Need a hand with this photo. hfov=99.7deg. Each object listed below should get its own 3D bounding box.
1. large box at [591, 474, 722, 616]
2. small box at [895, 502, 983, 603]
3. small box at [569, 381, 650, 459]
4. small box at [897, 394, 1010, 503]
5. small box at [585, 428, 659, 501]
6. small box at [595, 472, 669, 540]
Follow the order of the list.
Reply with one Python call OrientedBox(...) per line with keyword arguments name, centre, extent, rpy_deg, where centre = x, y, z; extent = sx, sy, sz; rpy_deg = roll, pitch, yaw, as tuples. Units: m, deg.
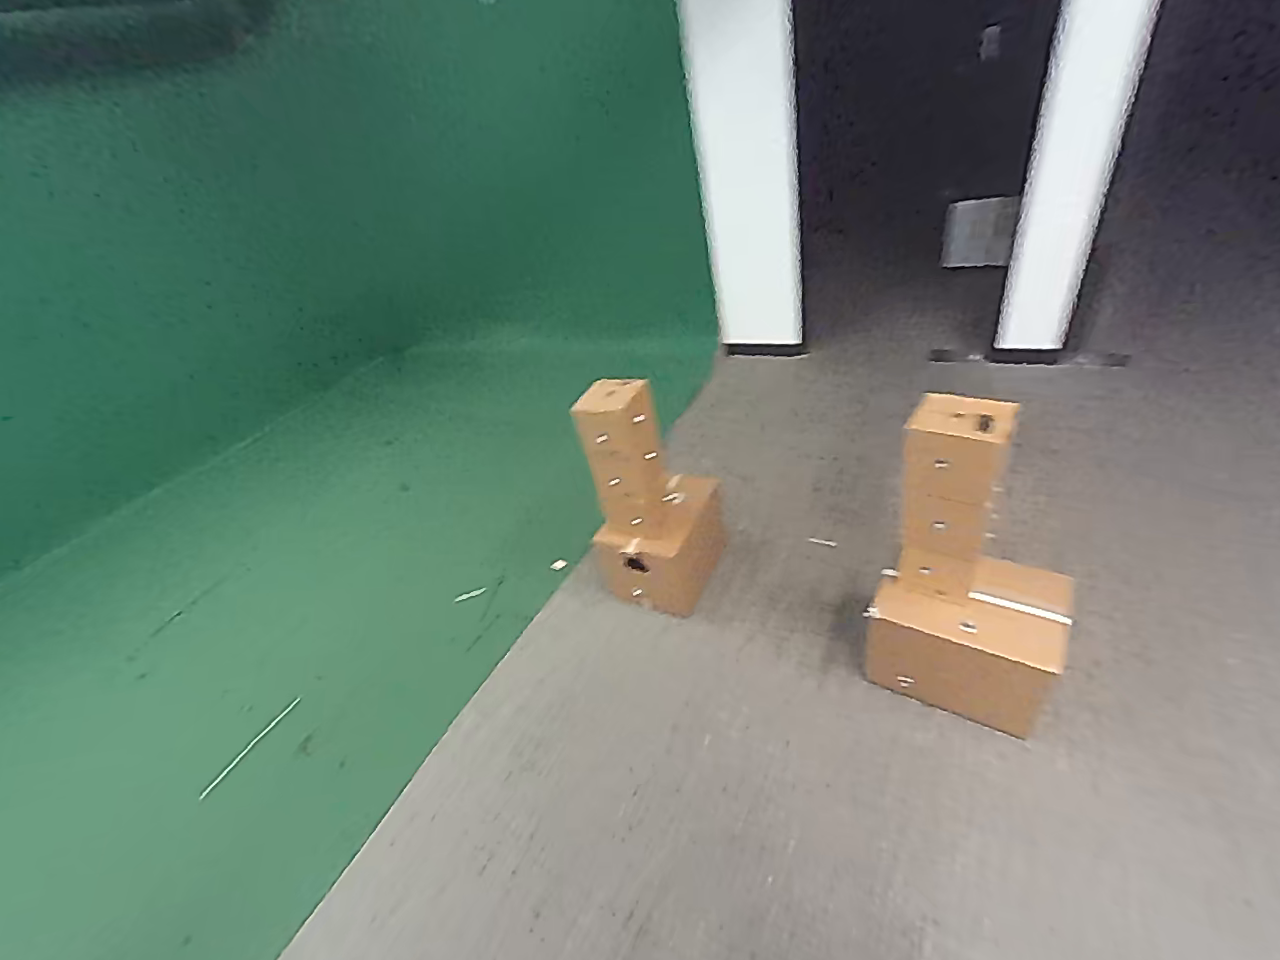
OrientedBox(name="large box", centre=(0.078, 0.227, 1.987), extent=(0.320, 0.320, 0.408), rpy_deg=(9, 42, 28))
OrientedBox(name="small box", centre=(0.767, 0.187, 1.396), extent=(0.168, 0.176, 0.179), rpy_deg=(14, 44, 32))
OrientedBox(name="small box", centre=(-0.082, -0.179, 1.612), extent=(0.168, 0.176, 0.179), rpy_deg=(6, 42, 26))
OrientedBox(name="small box", centre=(0.692, -0.070, 1.204), extent=(0.179, 0.176, 0.168), rpy_deg=(16, 45, 37))
OrientedBox(name="small box", centre=(-0.049, -0.052, 1.711), extent=(0.168, 0.176, 0.179), rpy_deg=(5, 40, 24))
OrientedBox(name="small box", centre=(-0.019, 0.079, 1.804), extent=(0.179, 0.176, 0.168), rpy_deg=(7, 41, 28))
